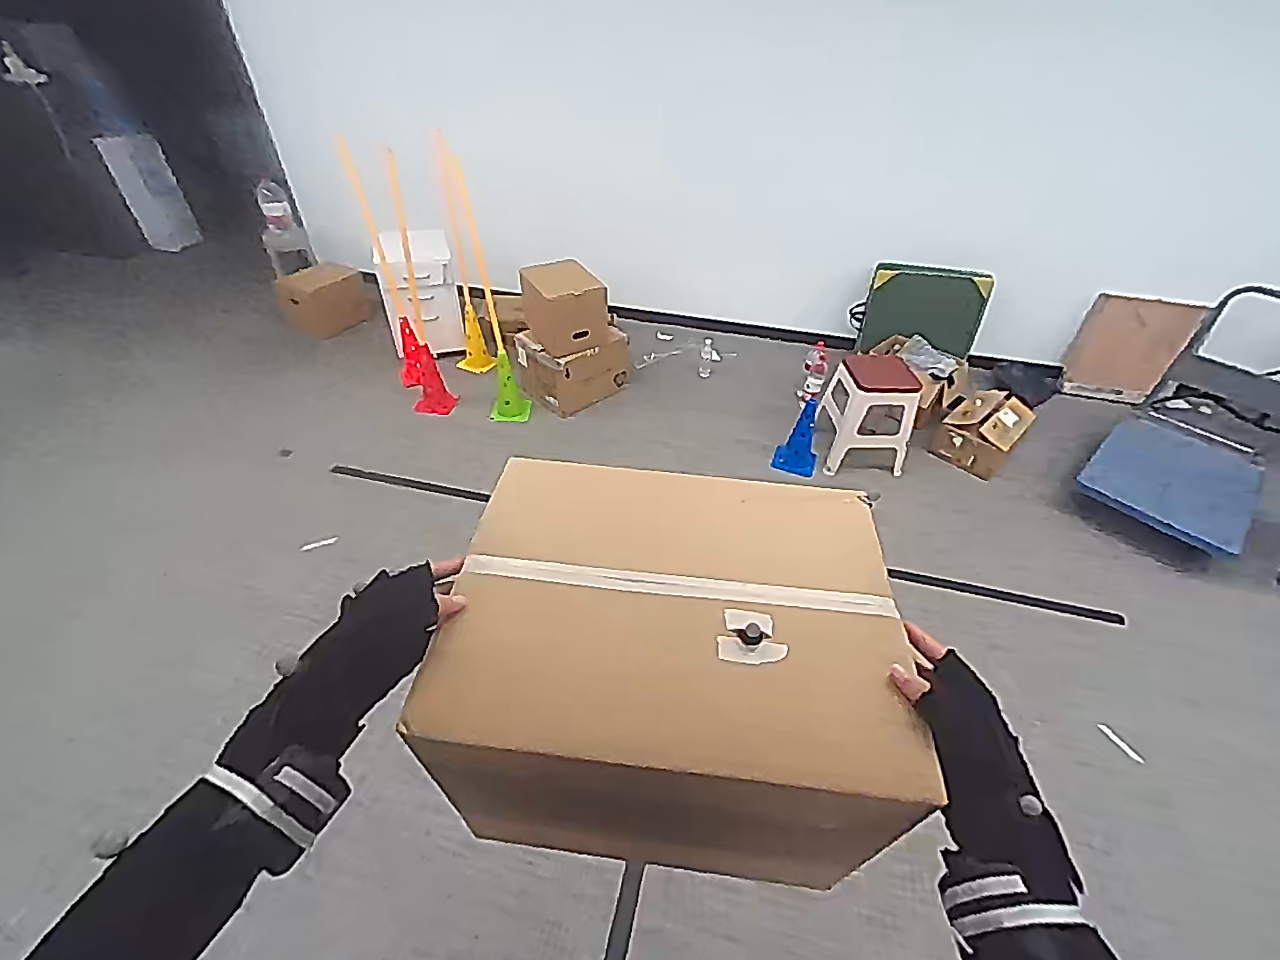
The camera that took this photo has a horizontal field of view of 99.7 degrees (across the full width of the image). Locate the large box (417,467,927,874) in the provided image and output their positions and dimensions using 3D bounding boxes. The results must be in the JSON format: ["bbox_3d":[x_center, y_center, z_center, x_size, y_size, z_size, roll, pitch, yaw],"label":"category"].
[{"bbox_3d":[0.028,0.214,0.622,0.408,0.320,0.320,6,45,3],"label":"large box"}]
